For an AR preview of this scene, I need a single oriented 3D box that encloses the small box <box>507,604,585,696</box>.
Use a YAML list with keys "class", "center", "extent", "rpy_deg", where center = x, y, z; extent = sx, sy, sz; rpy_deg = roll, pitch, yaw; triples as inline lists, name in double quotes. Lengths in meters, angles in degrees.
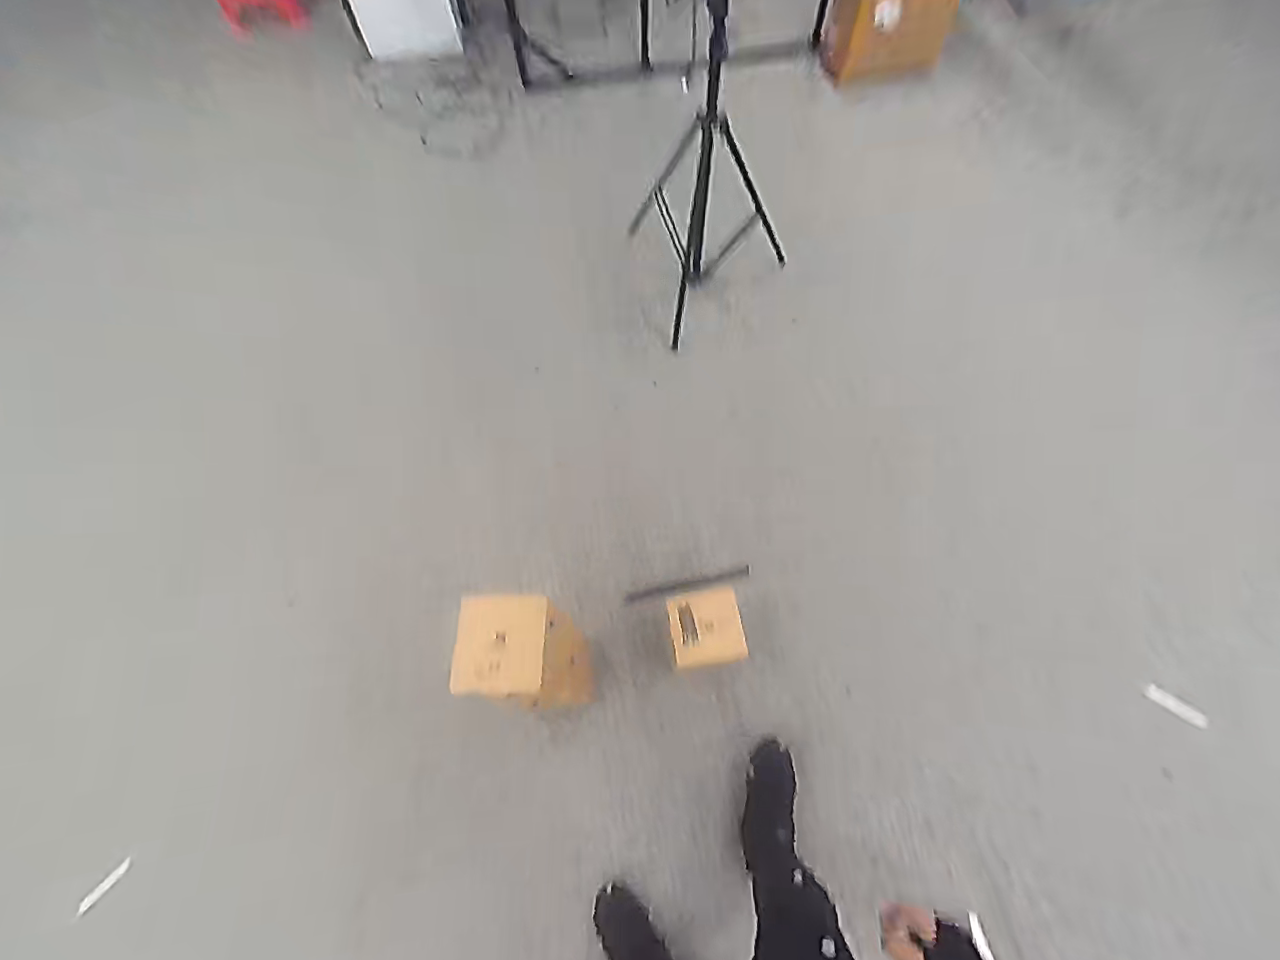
- class: "small box"
  center: [-0.229, 0.417, 1.315]
  extent: [0.168, 0.176, 0.179]
  rpy_deg: [-8, 65, -2]
